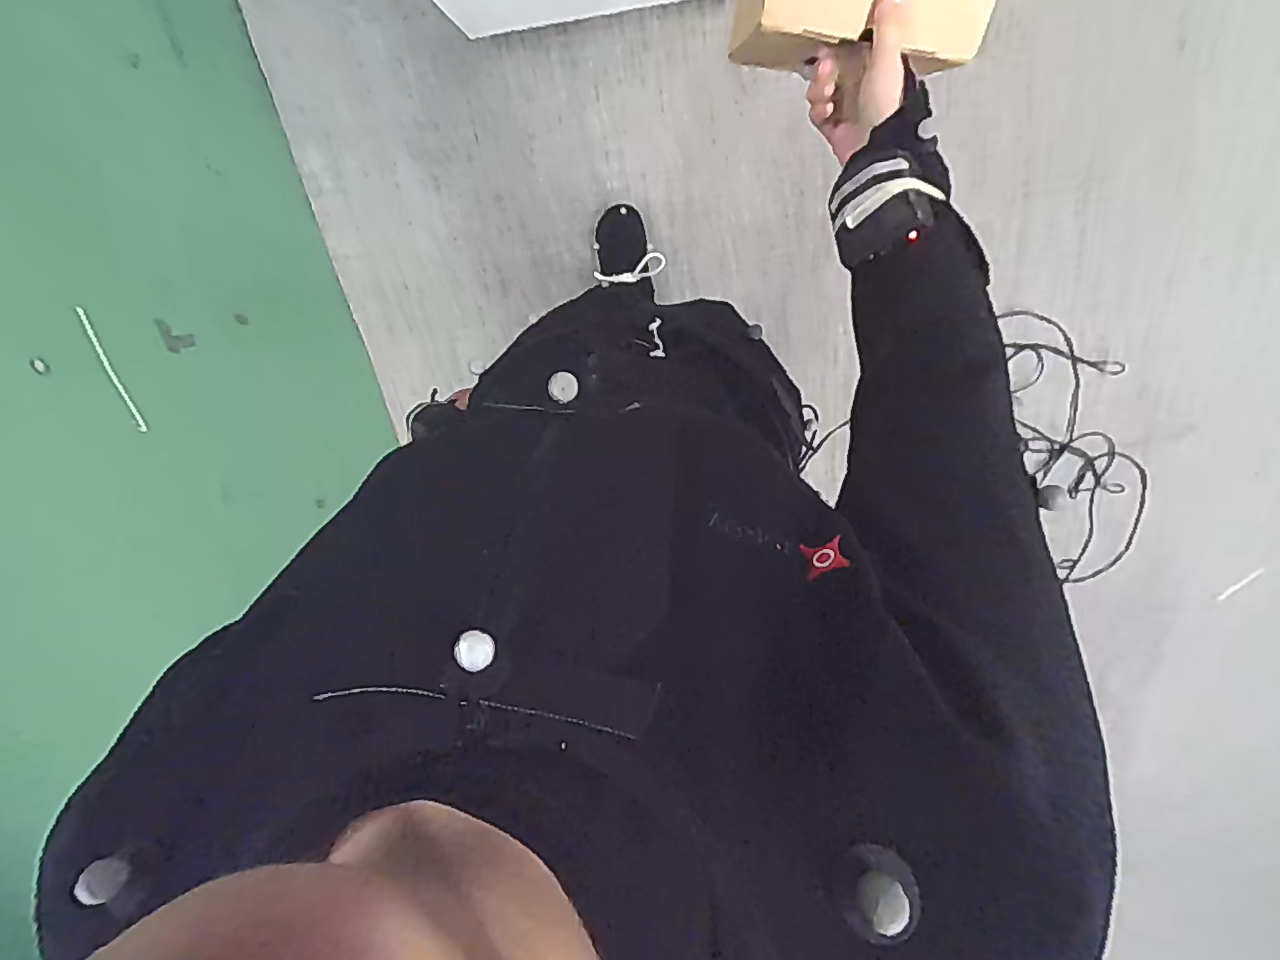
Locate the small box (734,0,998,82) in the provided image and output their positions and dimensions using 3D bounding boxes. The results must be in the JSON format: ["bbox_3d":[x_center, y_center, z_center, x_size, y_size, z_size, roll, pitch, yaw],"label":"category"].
[{"bbox_3d":[0.177,-0.433,0.418,0.168,0.176,0.179,6,122,-4],"label":"small box"}]
